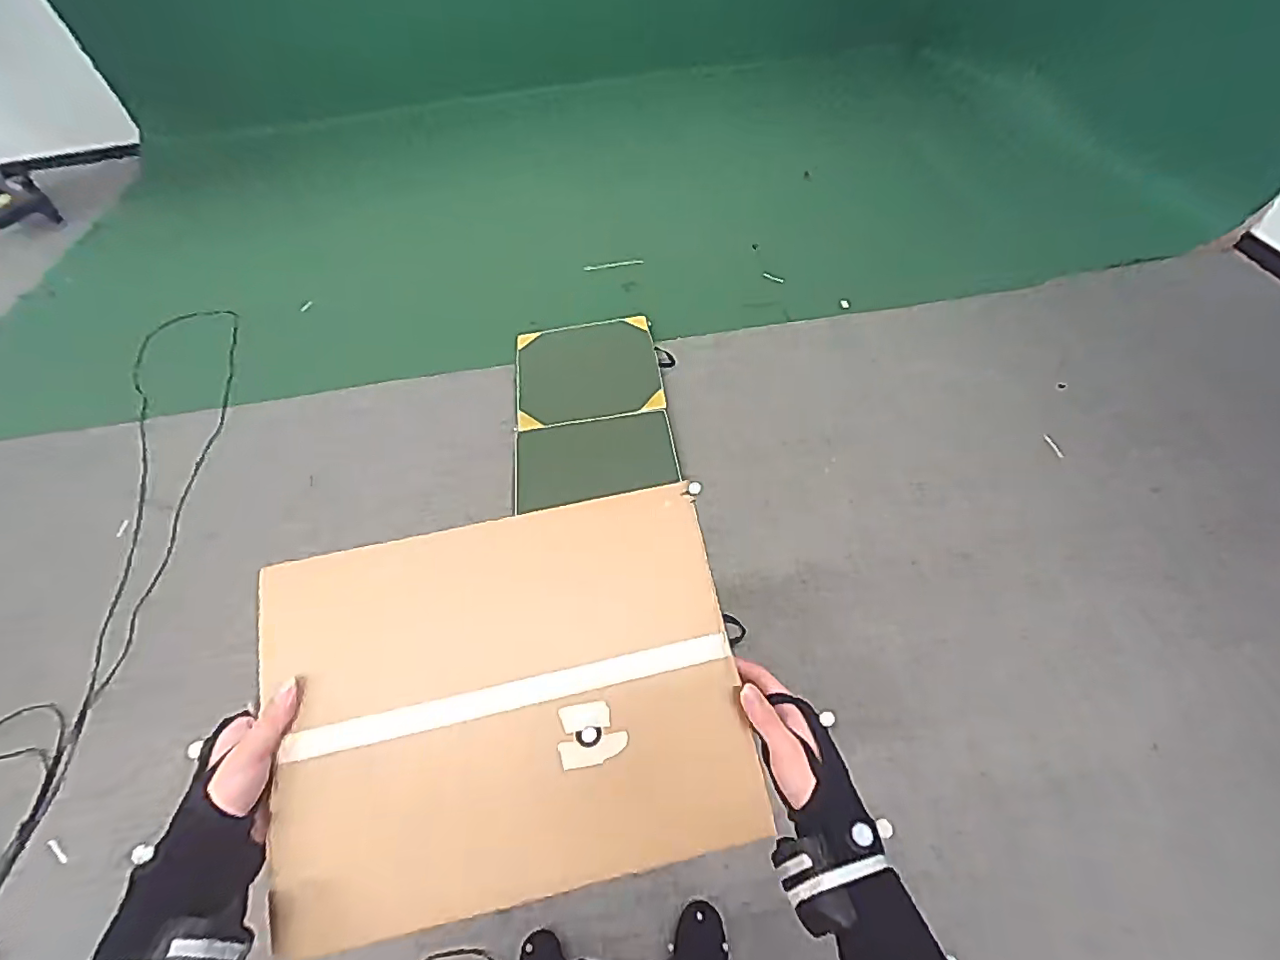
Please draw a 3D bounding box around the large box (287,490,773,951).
[{"bbox_3d":[-0.116,0.237,0.629,0.408,0.320,0.320,-11,74,-6],"label":"large box"}]
